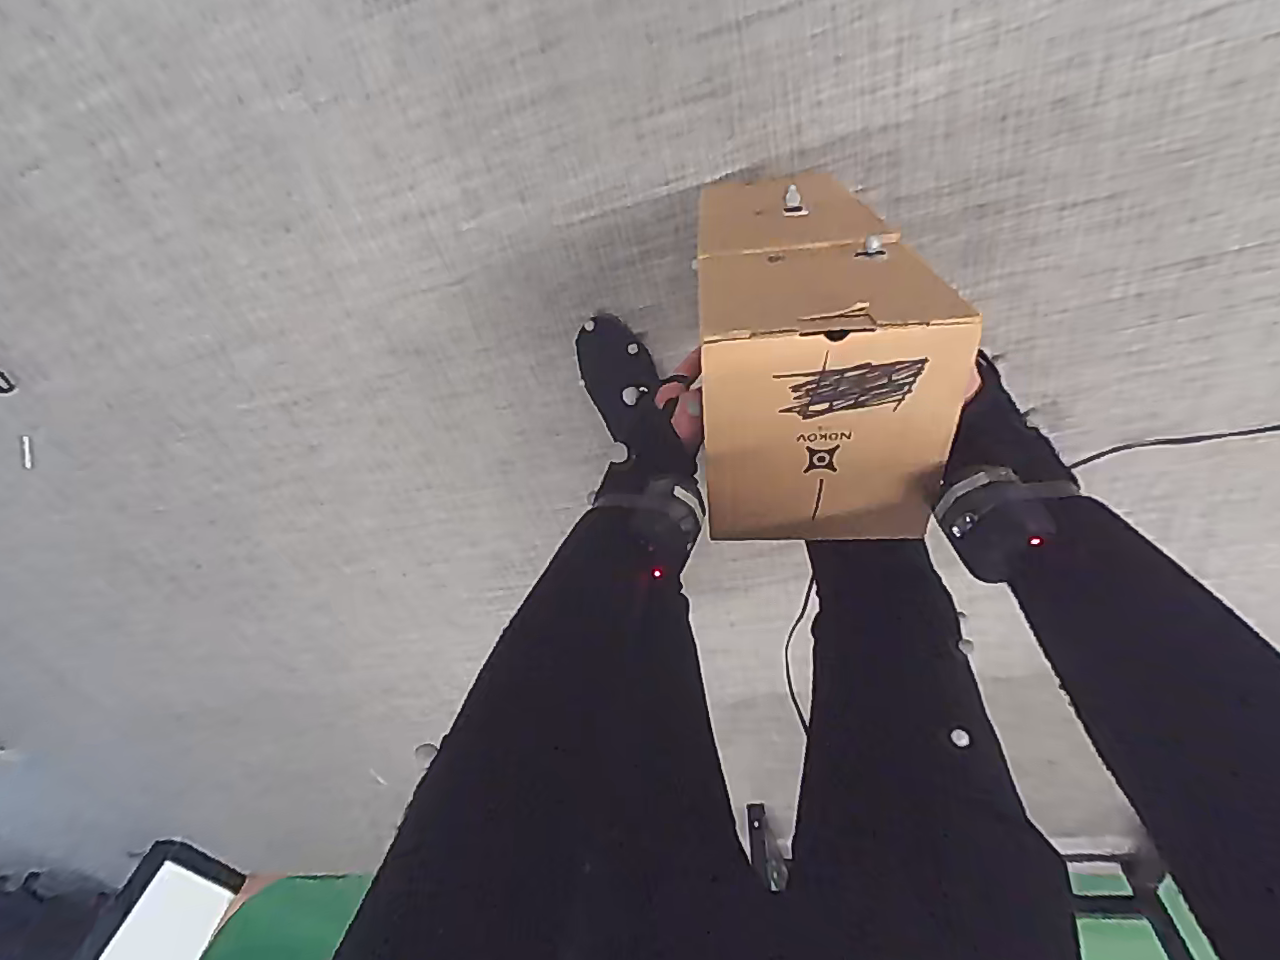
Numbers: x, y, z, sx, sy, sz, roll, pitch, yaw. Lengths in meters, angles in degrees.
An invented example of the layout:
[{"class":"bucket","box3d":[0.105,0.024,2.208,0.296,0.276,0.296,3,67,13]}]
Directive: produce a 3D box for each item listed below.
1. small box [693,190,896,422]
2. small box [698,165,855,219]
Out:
[{"class":"small box","box3d":[0.145,-0.180,0.558,0.168,0.176,0.179,-3,126,9]},{"class":"small box","box3d":[0.162,-0.279,0.685,0.168,0.176,0.179,-1,128,9]}]
